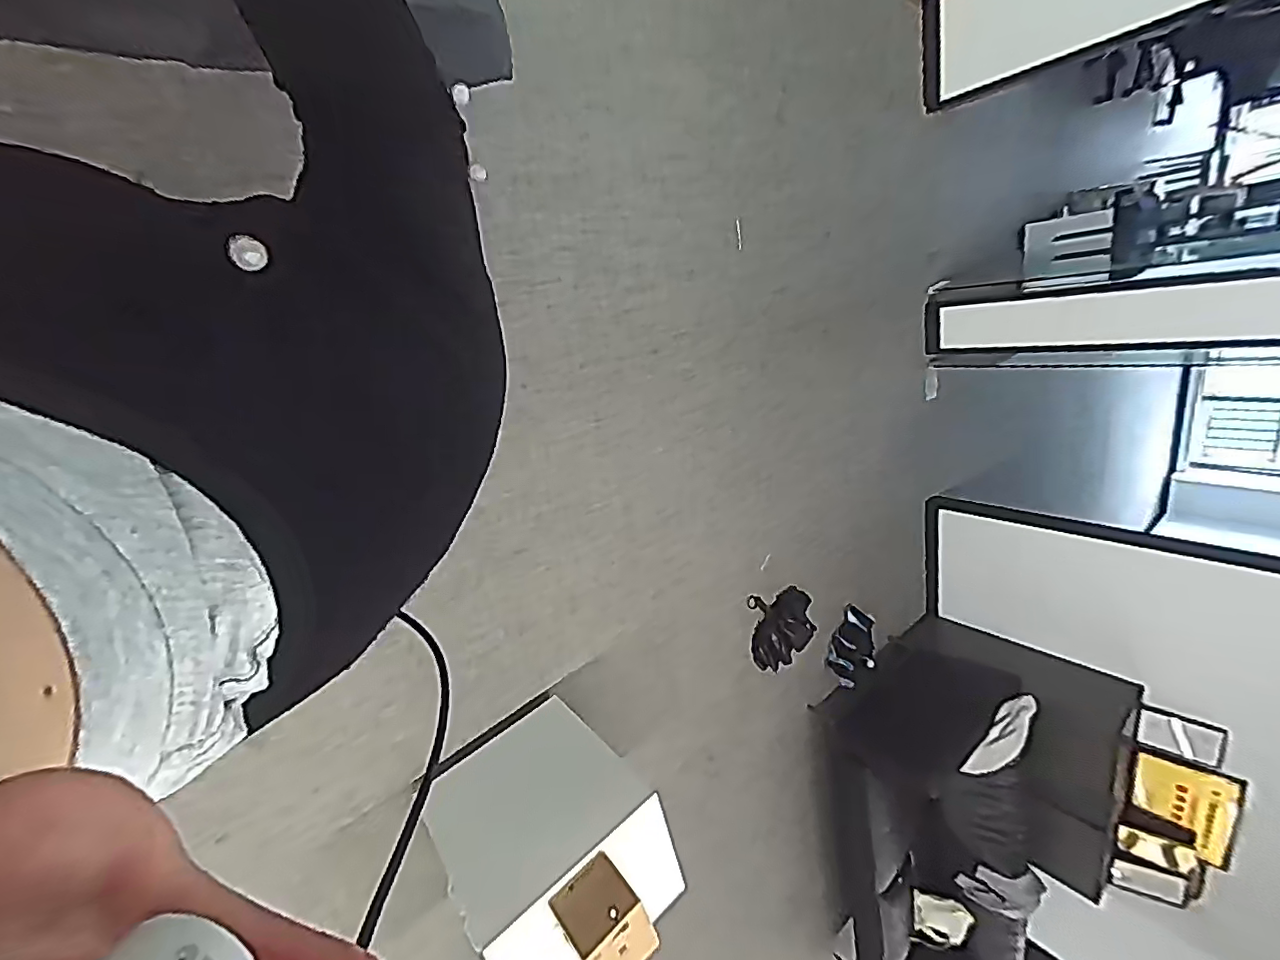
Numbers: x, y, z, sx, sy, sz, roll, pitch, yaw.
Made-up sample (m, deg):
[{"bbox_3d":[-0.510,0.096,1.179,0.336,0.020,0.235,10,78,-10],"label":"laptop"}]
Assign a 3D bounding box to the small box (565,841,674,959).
[{"bbox_3d":[-0.050,1.014,1.285,0.168,0.176,0.179,-32,118,-30],"label":"small box"}]
